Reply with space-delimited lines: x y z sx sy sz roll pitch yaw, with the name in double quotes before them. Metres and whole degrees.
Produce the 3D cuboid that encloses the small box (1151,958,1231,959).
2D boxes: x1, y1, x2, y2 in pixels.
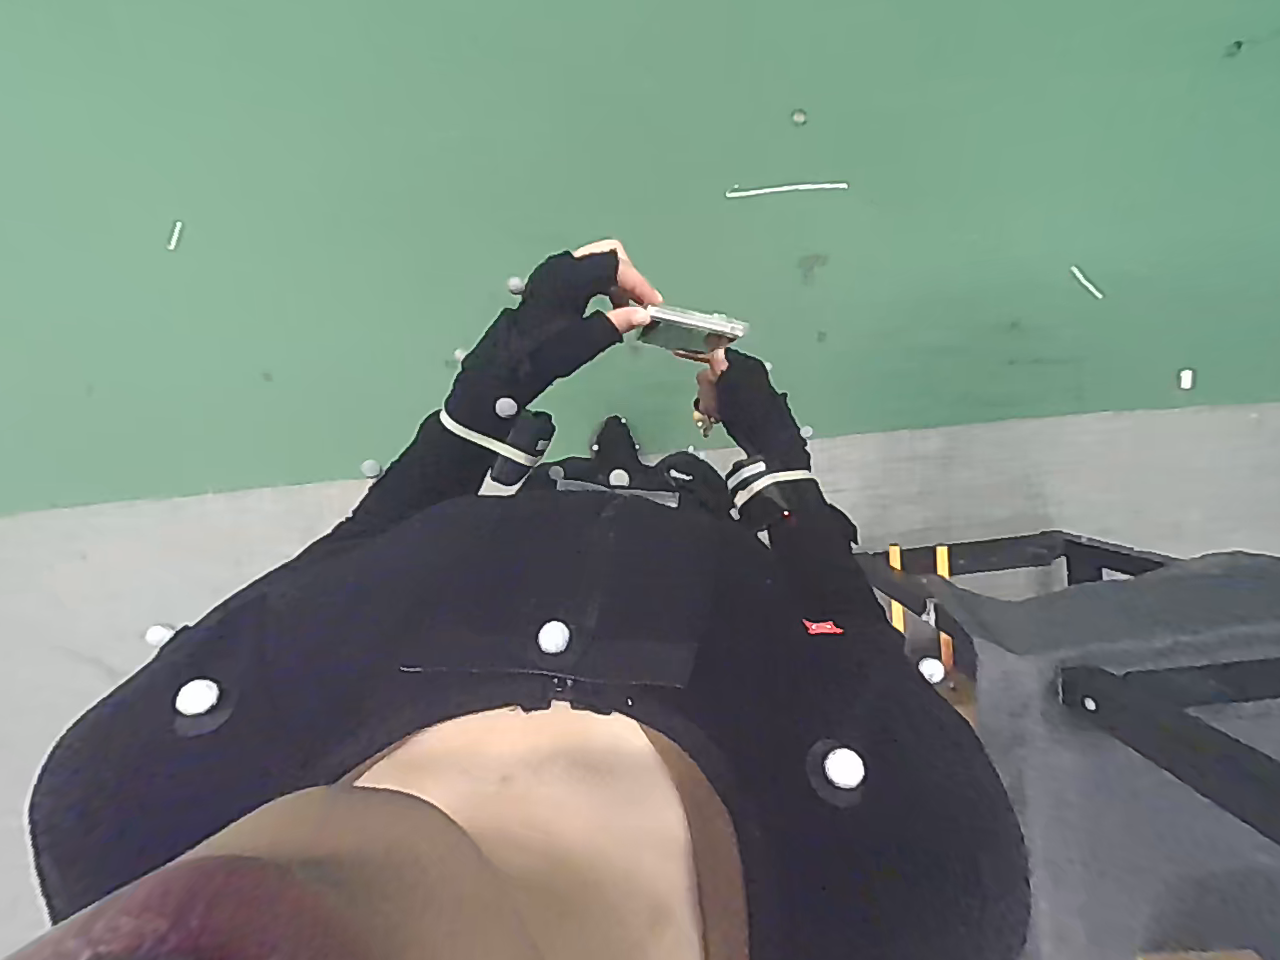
"small box" 0.804 0.771 0.703 0.168 0.176 0.179 -3 95 1
